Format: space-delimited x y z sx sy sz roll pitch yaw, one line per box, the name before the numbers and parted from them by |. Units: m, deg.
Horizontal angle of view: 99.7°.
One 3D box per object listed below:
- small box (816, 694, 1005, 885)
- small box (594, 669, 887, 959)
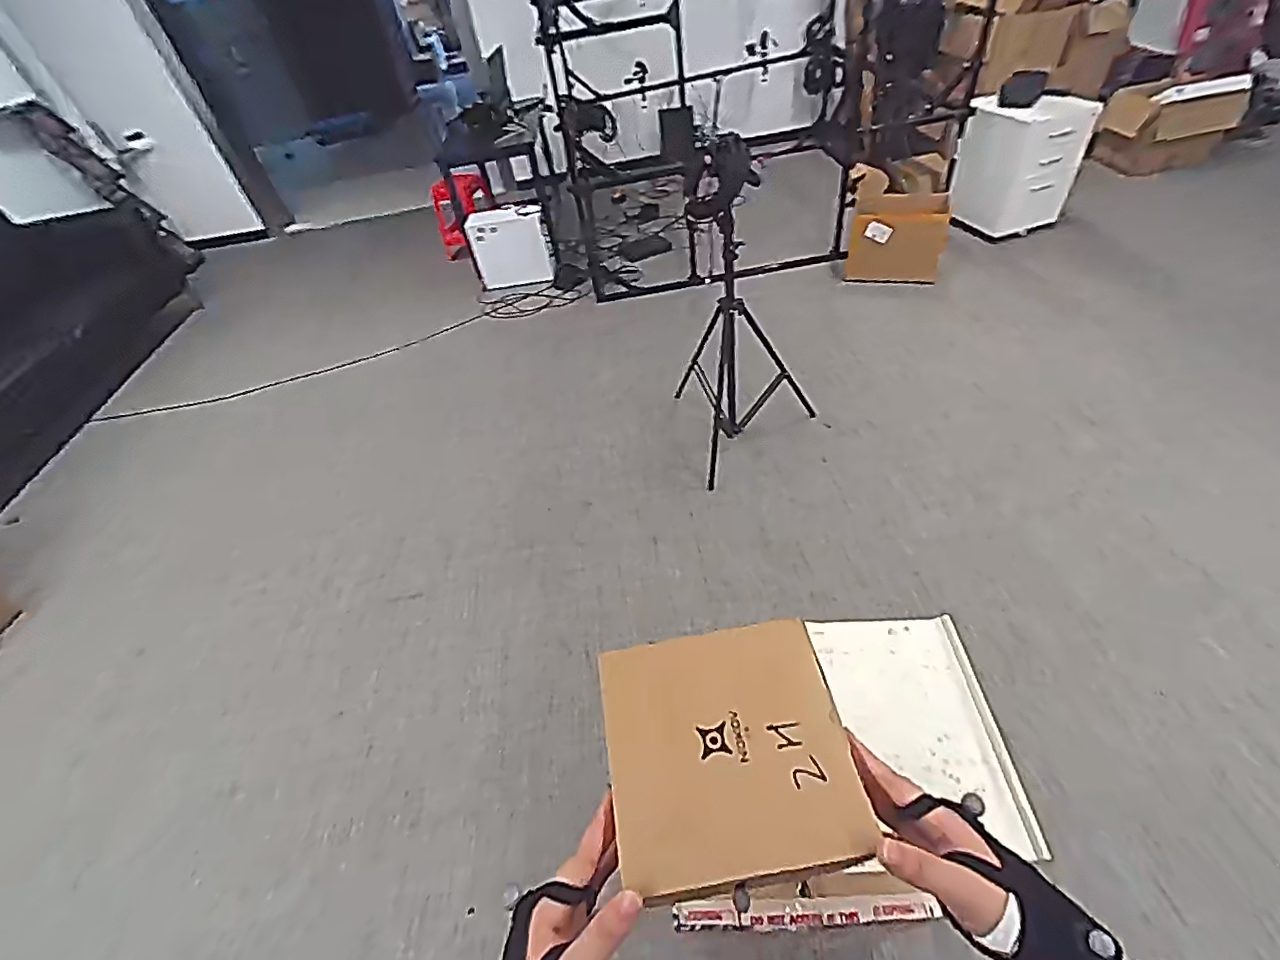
small box | 0.306 0.388 0.680 0.168 0.176 0.179 -3 47 5
small box | 0.067 0.277 0.443 0.179 0.176 0.168 -10 51 -1
